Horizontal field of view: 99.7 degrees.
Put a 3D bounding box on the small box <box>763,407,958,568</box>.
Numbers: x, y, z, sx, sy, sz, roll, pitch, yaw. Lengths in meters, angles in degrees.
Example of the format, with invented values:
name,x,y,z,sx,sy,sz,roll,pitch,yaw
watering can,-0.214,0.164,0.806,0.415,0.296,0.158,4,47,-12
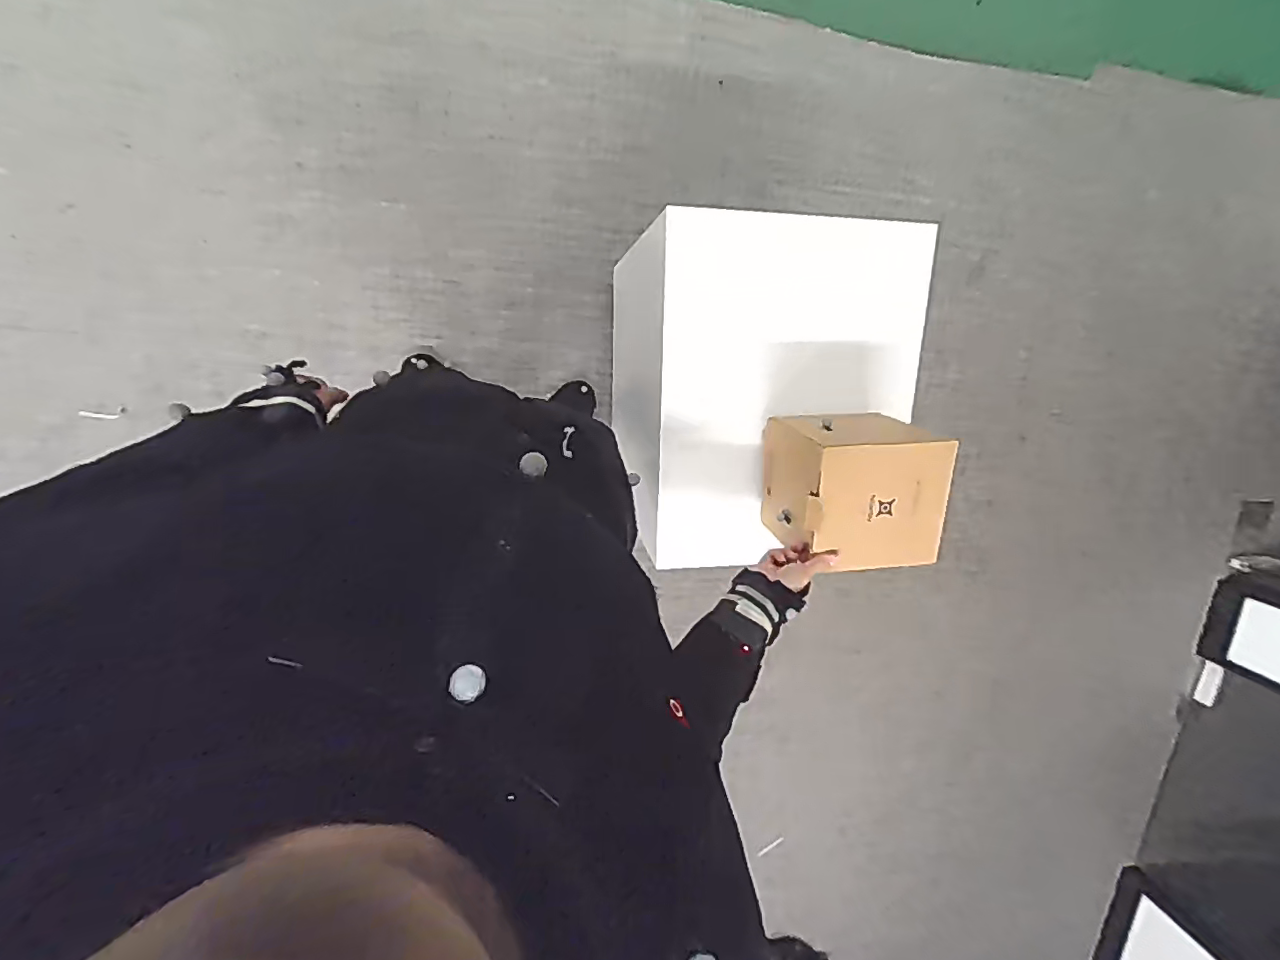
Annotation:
name,x,y,z,sx,sy,sz,roll,pitch,yaw
small box,0.277,0.001,0.724,0.179,0.176,0.168,-4,110,-9
